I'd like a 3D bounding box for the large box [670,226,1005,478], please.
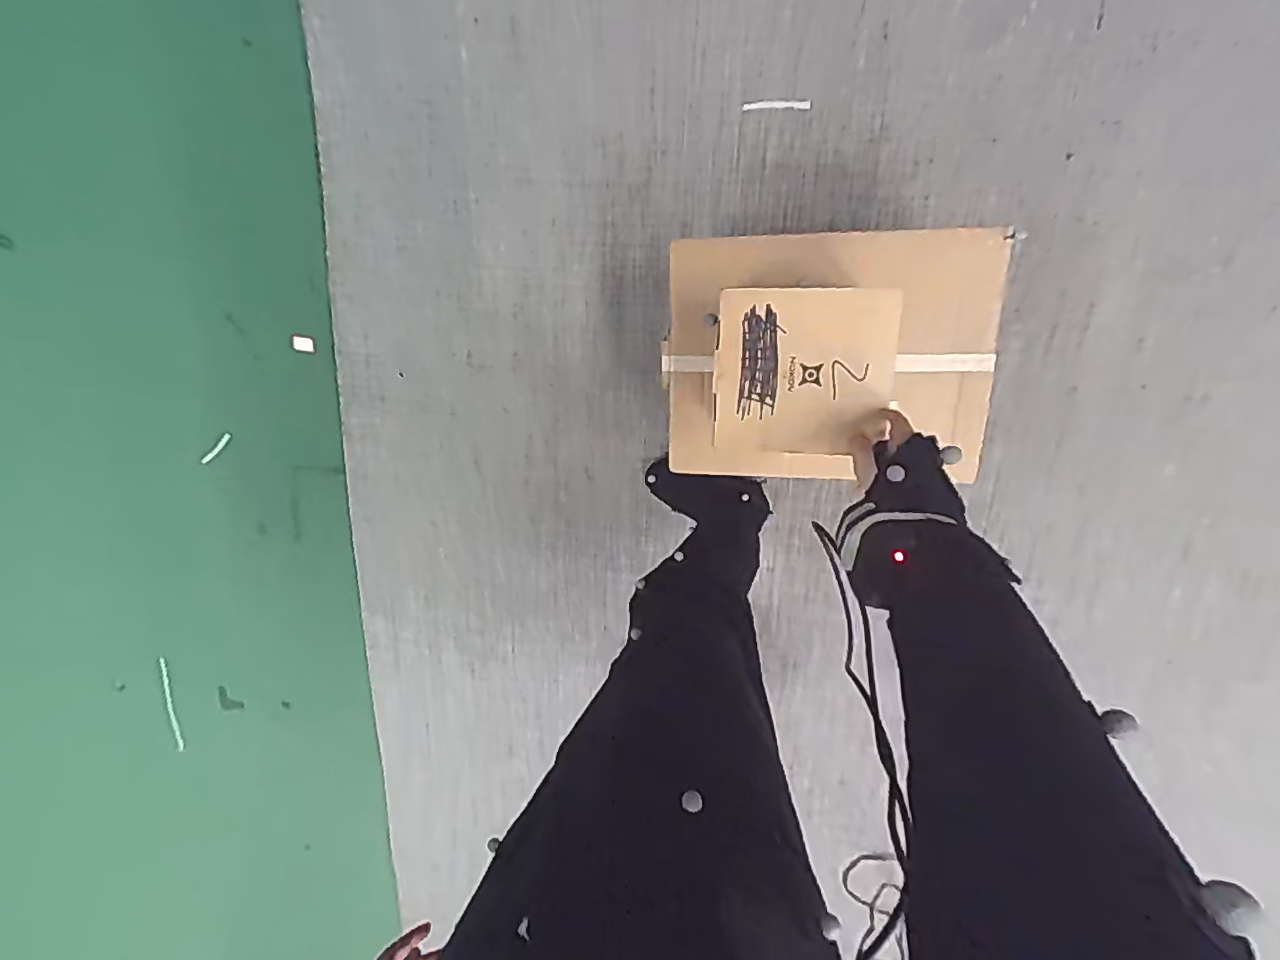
[{"bbox_3d":[0.262,-0.190,0.847,0.408,0.320,0.320,1,106,9],"label":"large box"}]
